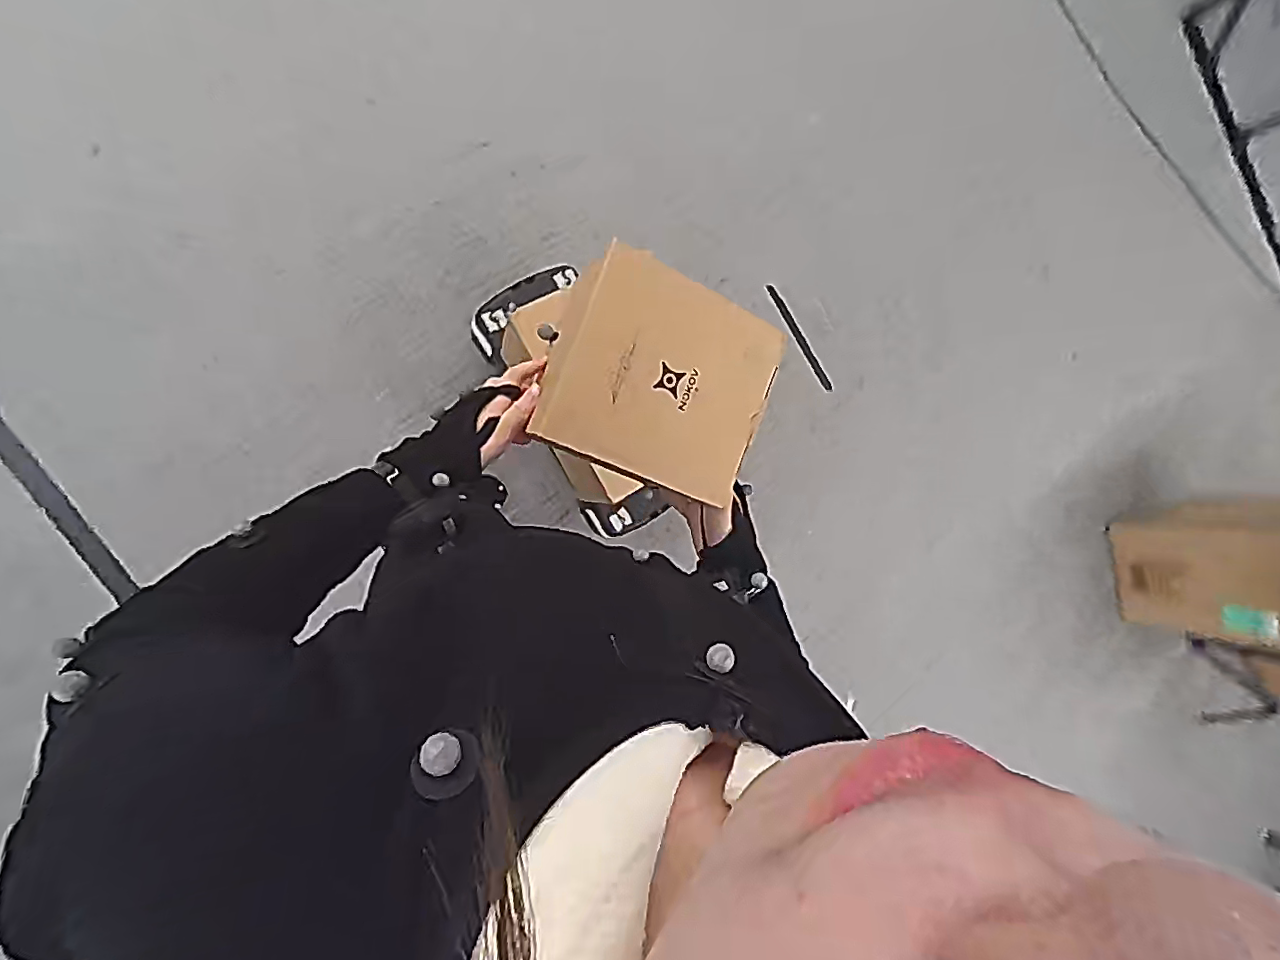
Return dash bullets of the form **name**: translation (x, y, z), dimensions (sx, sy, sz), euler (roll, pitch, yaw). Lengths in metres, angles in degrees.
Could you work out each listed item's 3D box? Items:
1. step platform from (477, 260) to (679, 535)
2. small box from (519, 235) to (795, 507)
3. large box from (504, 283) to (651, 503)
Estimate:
- **step platform**: translation (-0.150, -0.202, 1.404), dimensions (0.286, 0.204, 0.684), euler (-28, 96, -16)
- **small box**: translation (0.003, -0.089, 0.504), dimensions (0.179, 0.176, 0.168), euler (21, 88, -20)
- **large box**: translation (-0.059, -0.195, 1.181), dimensions (0.320, 0.320, 0.408), euler (-31, 97, -16)
